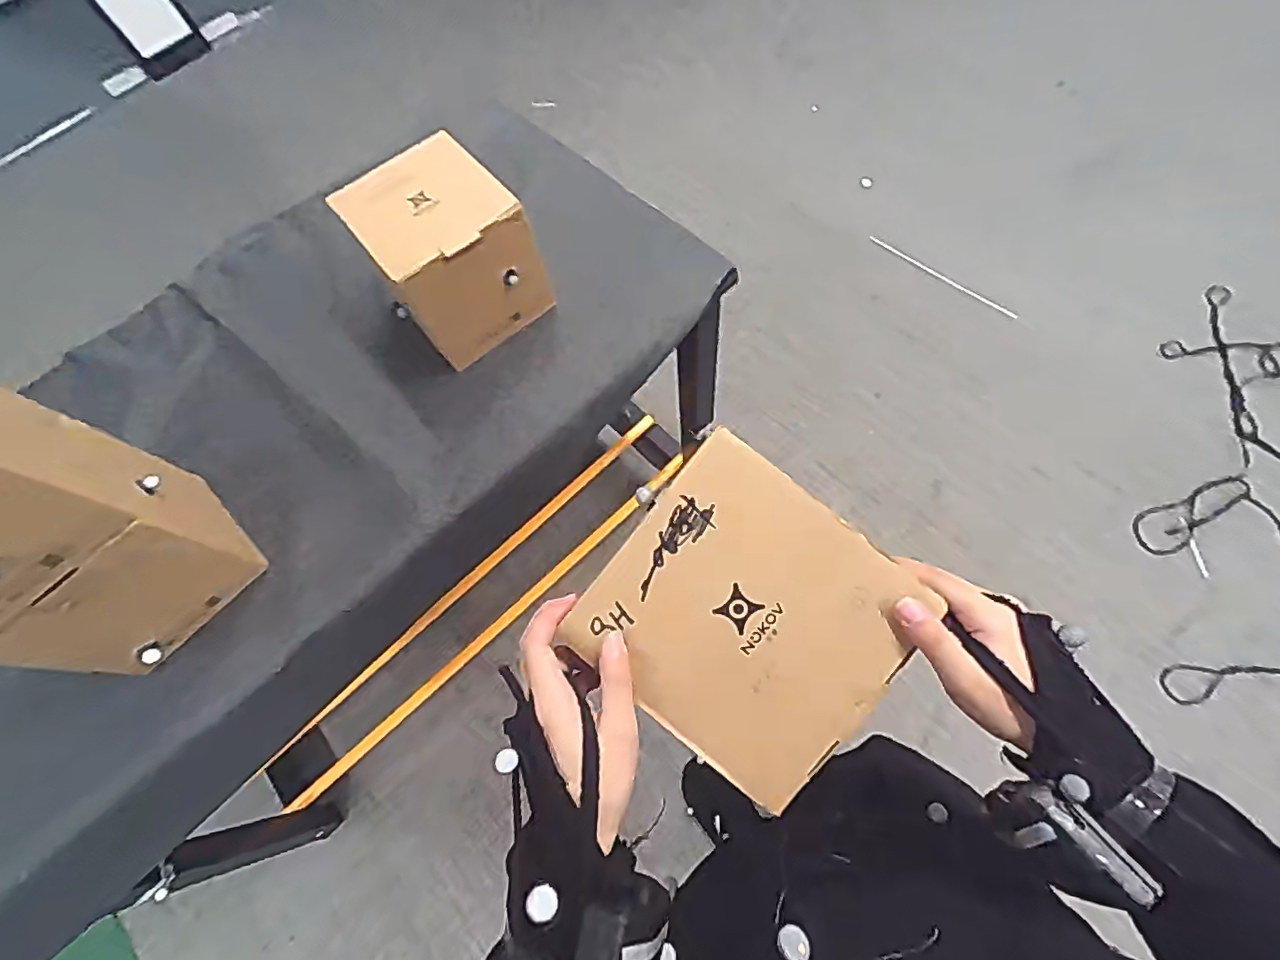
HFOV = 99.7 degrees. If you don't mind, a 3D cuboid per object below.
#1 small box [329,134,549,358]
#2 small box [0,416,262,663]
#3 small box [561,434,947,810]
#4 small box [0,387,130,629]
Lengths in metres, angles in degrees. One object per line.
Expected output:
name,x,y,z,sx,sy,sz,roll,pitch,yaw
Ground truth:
small box,-0.239,-0.281,0.683,0.168,0.176,0.179,-38,68,-11
small box,-0.554,0.073,0.566,0.179,0.176,0.168,39,76,20
small box,0.072,0.085,0.406,0.179,0.176,0.168,38,91,3
small box,-0.571,0.007,0.416,0.179,0.176,0.168,37,76,19
